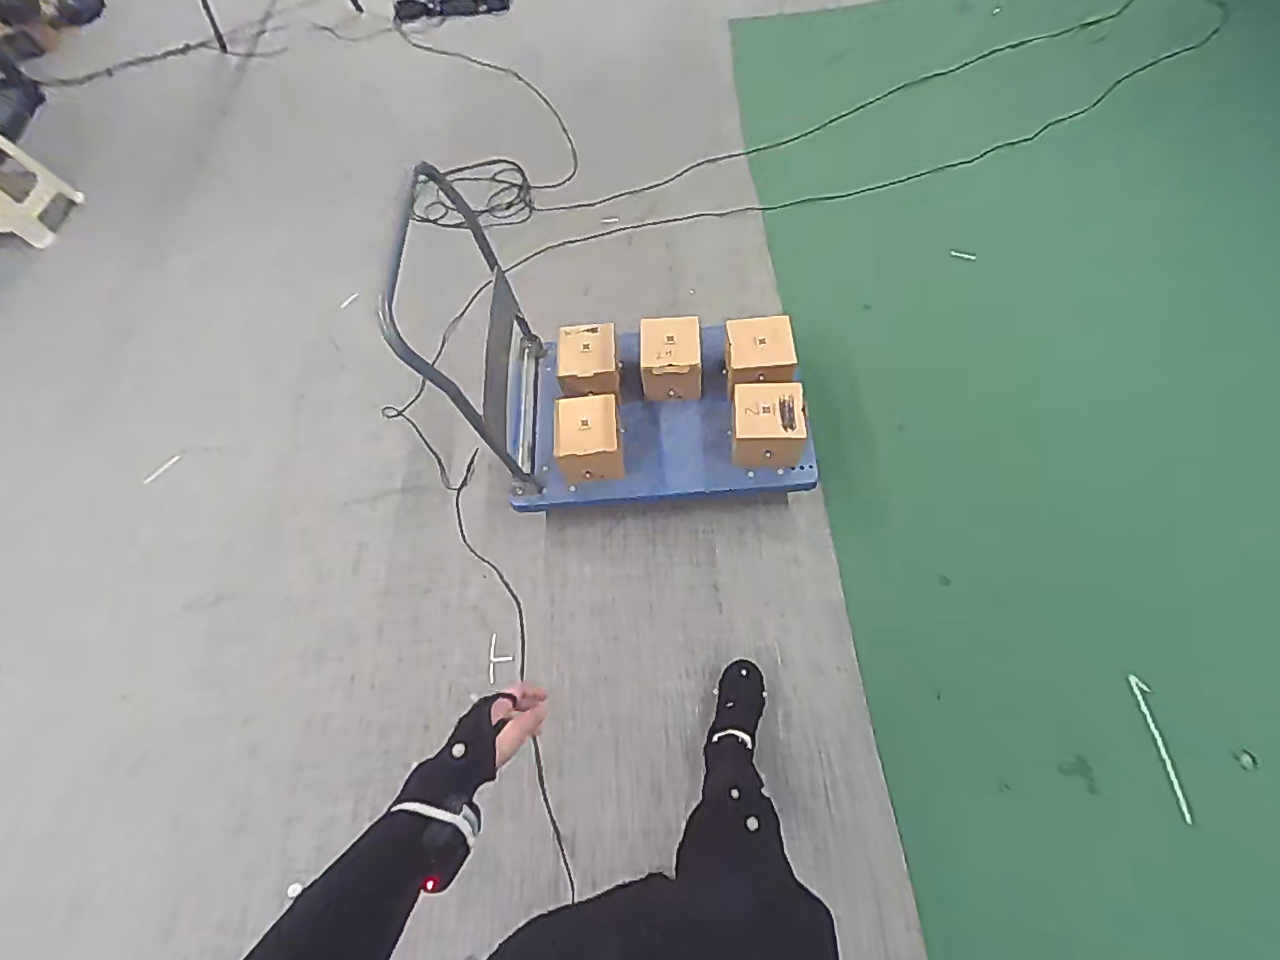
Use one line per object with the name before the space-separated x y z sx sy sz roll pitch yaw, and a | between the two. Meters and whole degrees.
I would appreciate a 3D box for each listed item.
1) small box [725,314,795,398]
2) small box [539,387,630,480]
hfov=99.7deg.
small box | 0.335 -0.349 1.544 0.179 0.176 0.168 -3 65 4
small box | -0.145 -0.122 1.492 0.179 0.176 0.168 24 71 16
